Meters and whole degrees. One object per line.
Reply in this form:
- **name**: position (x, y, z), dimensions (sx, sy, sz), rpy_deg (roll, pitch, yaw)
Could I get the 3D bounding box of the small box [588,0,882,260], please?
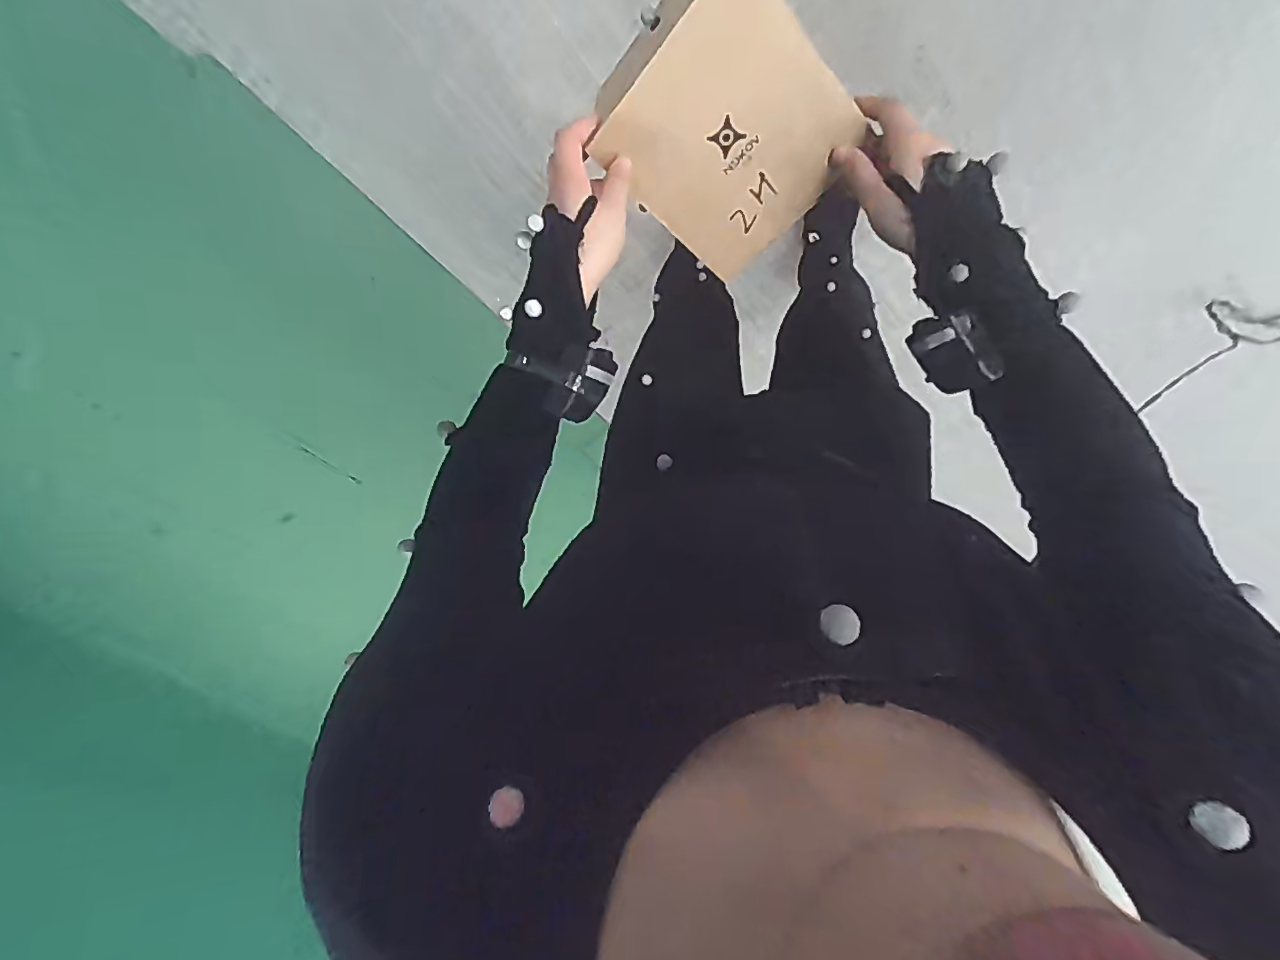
- **small box**: position (0.074, -0.344, 0.479), dimensions (0.179, 0.176, 0.168), rpy_deg (30, 132, -30)
